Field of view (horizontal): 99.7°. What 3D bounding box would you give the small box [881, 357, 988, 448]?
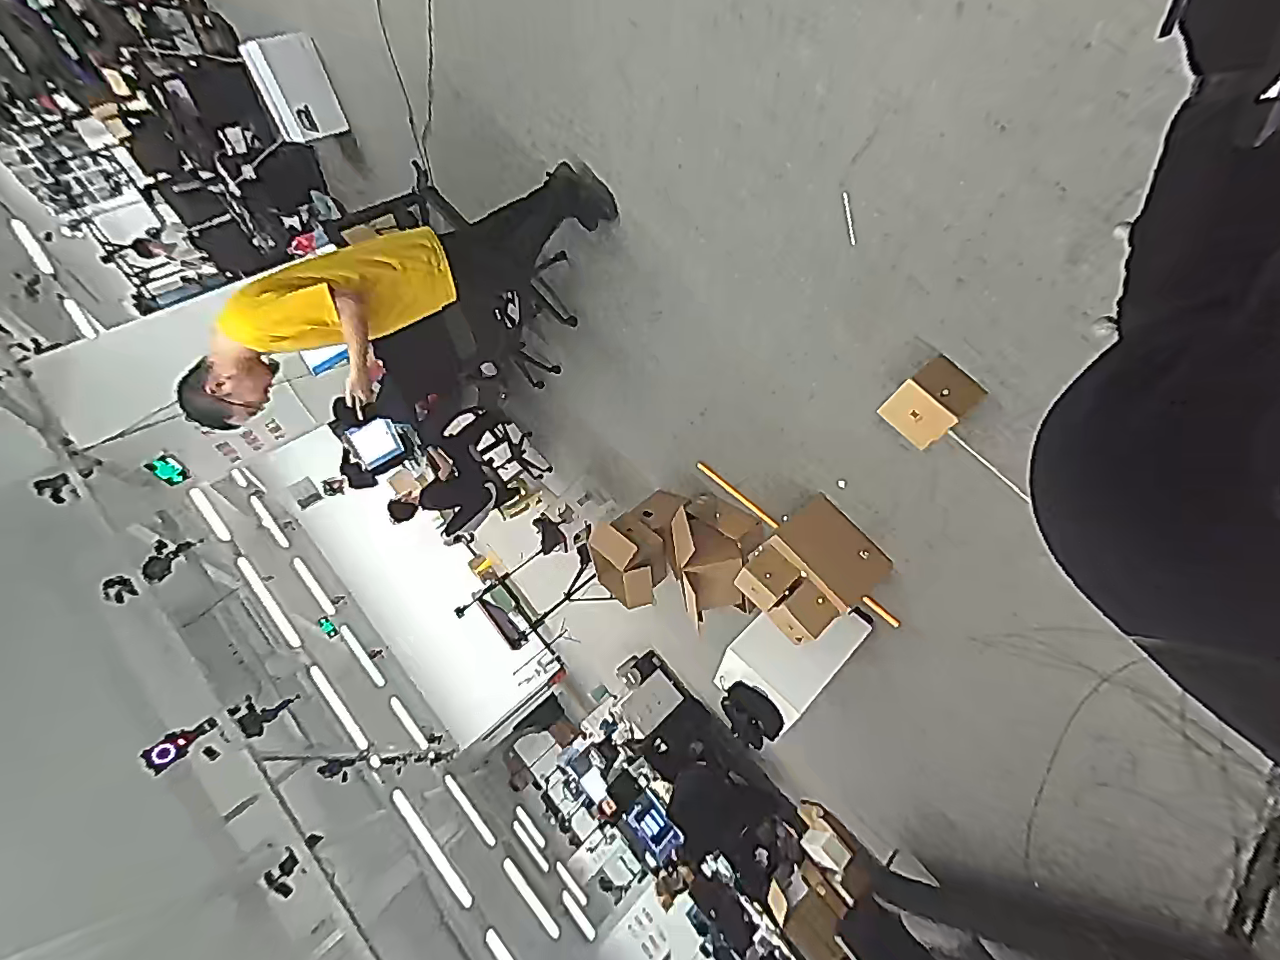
[{"bbox_3d":[0.850,-0.232,1.565,0.179,0.176,0.168,46,154,13],"label":"small box"}]
